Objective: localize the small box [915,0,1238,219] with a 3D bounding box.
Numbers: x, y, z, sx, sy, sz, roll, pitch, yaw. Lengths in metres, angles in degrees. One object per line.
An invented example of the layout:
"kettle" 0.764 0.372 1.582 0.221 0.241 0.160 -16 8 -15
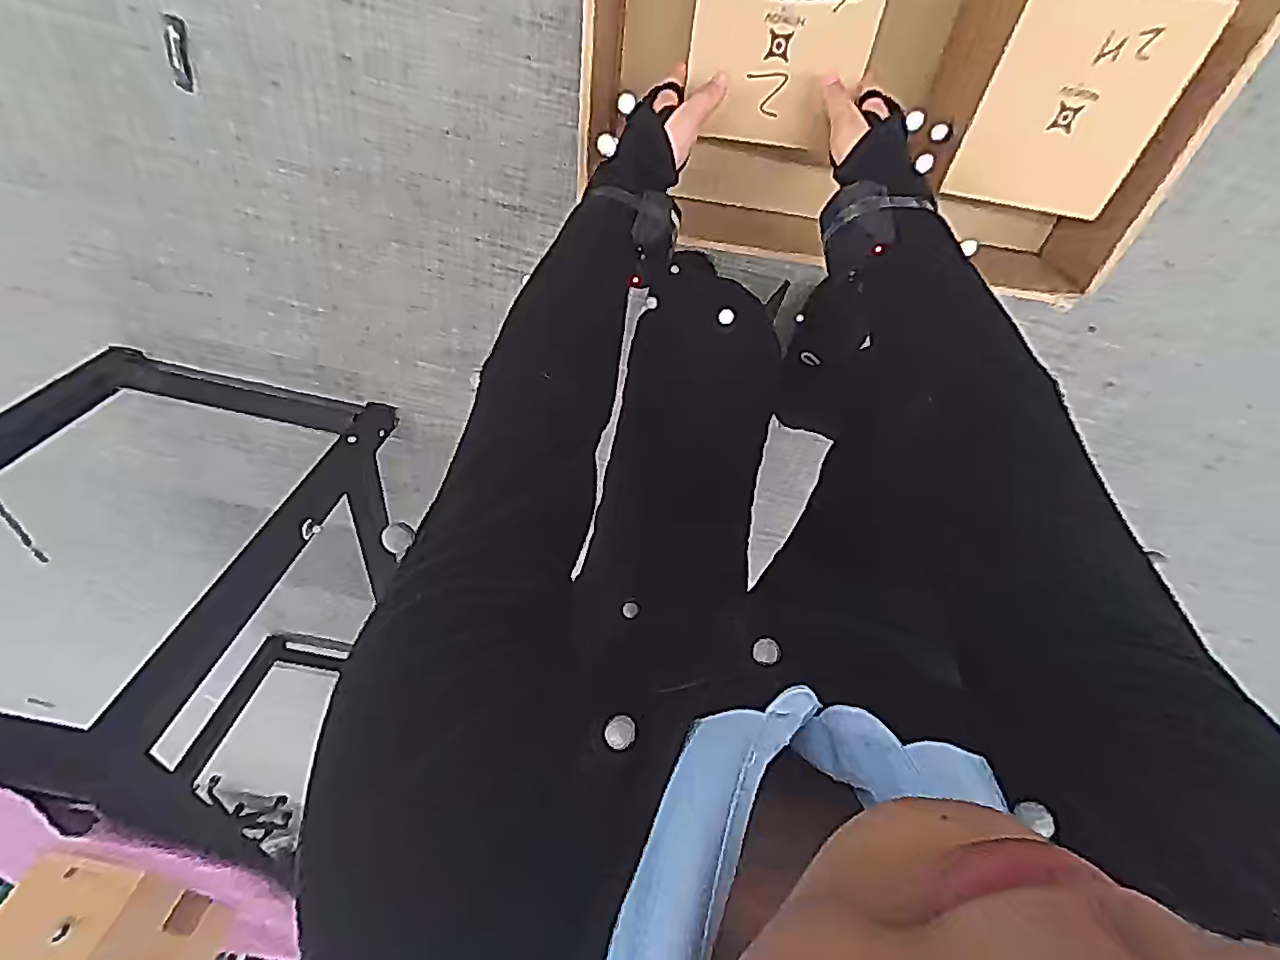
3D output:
"small box" 0.411 -0.398 0.557 0.168 0.176 0.179 10 131 -1

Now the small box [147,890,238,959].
"small box" -0.946 0.925 1.070 0.168 0.176 0.179 13 132 -3

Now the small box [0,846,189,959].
"small box" -0.897 0.722 0.877 0.168 0.176 0.179 14 132 -2
